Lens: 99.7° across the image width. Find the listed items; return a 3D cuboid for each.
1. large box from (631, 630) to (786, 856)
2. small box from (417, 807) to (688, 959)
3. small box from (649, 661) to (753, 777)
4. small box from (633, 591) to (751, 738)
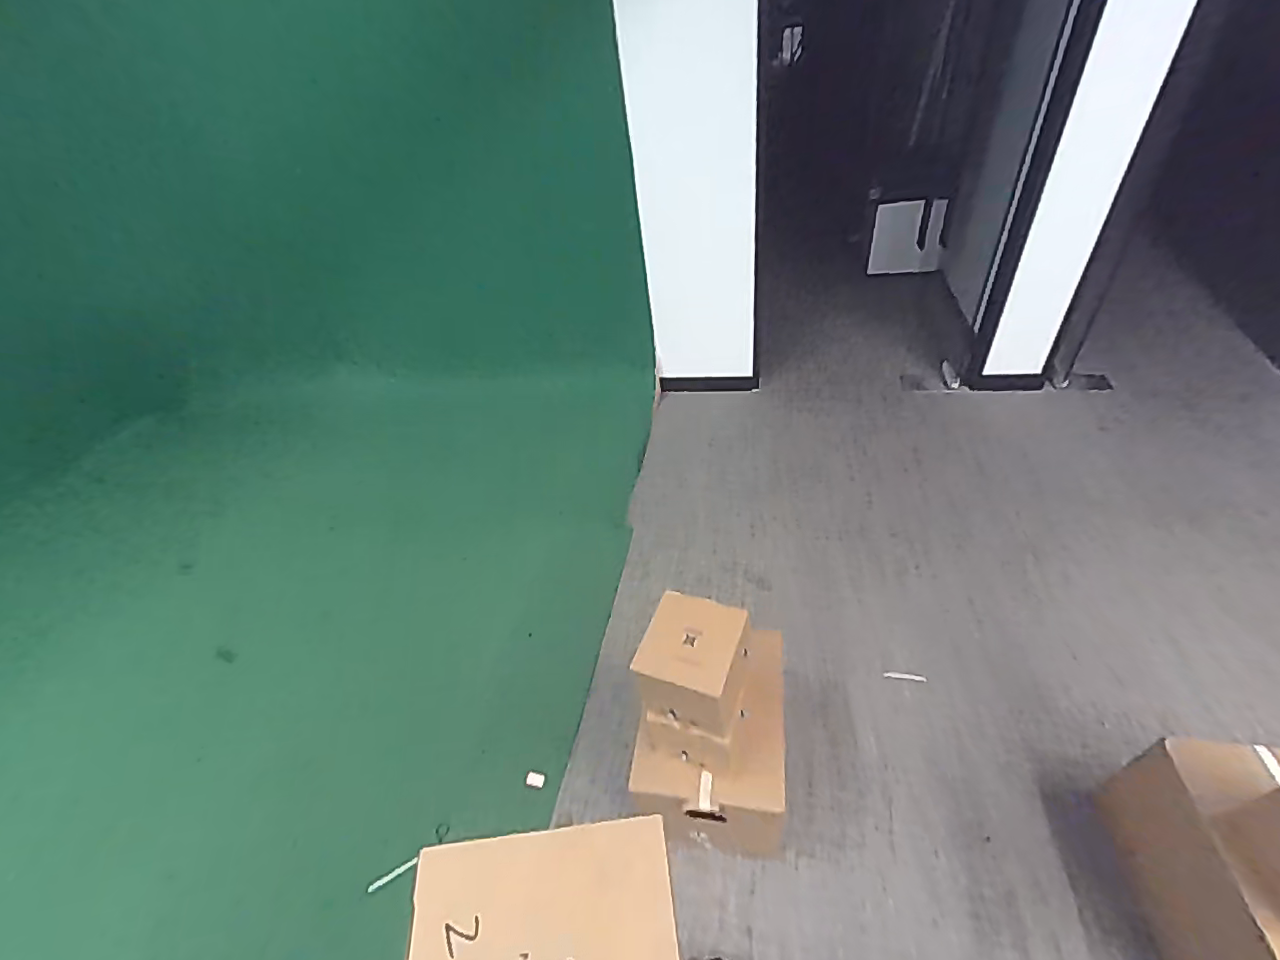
[{"bbox_3d":[0.182,0.615,1.304,0.320,0.320,0.408,1,42,13],"label":"large box"},{"bbox_3d":[-0.052,0.360,0.403,0.179,0.176,0.168,-7,49,-1],"label":"small box"},{"bbox_3d":[0.132,0.469,1.108,0.168,0.176,0.179,8,45,21],"label":"small box"},{"bbox_3d":[0.105,0.342,1.009,0.168,0.176,0.179,10,46,24],"label":"small box"}]
